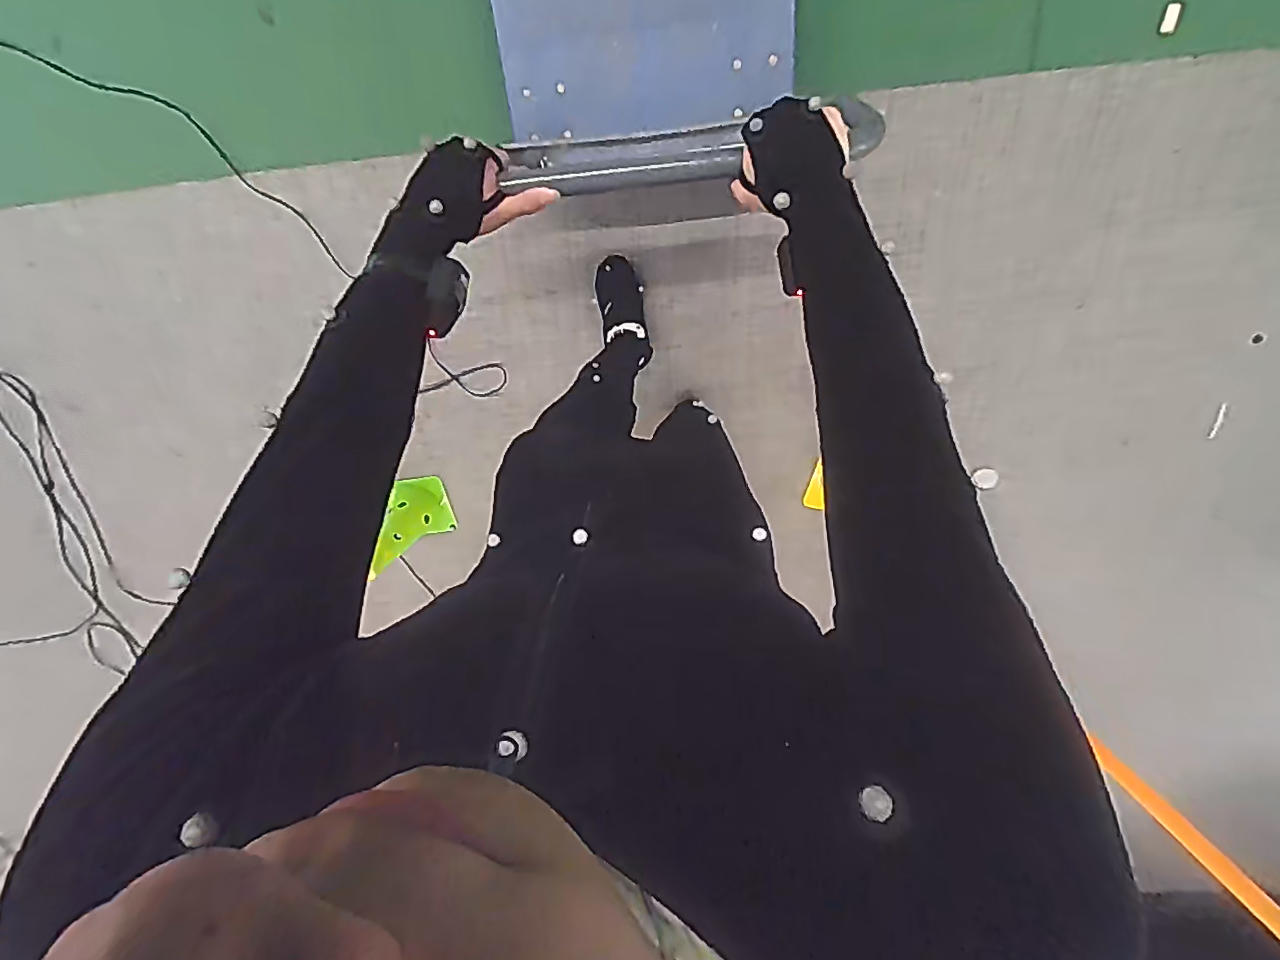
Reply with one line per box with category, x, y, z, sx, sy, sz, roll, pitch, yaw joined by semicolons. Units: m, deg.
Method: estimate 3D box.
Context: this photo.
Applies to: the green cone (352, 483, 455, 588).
green cone;-0.715;0.180;1.560;0.202;0.368;0.200;-7;116;7
